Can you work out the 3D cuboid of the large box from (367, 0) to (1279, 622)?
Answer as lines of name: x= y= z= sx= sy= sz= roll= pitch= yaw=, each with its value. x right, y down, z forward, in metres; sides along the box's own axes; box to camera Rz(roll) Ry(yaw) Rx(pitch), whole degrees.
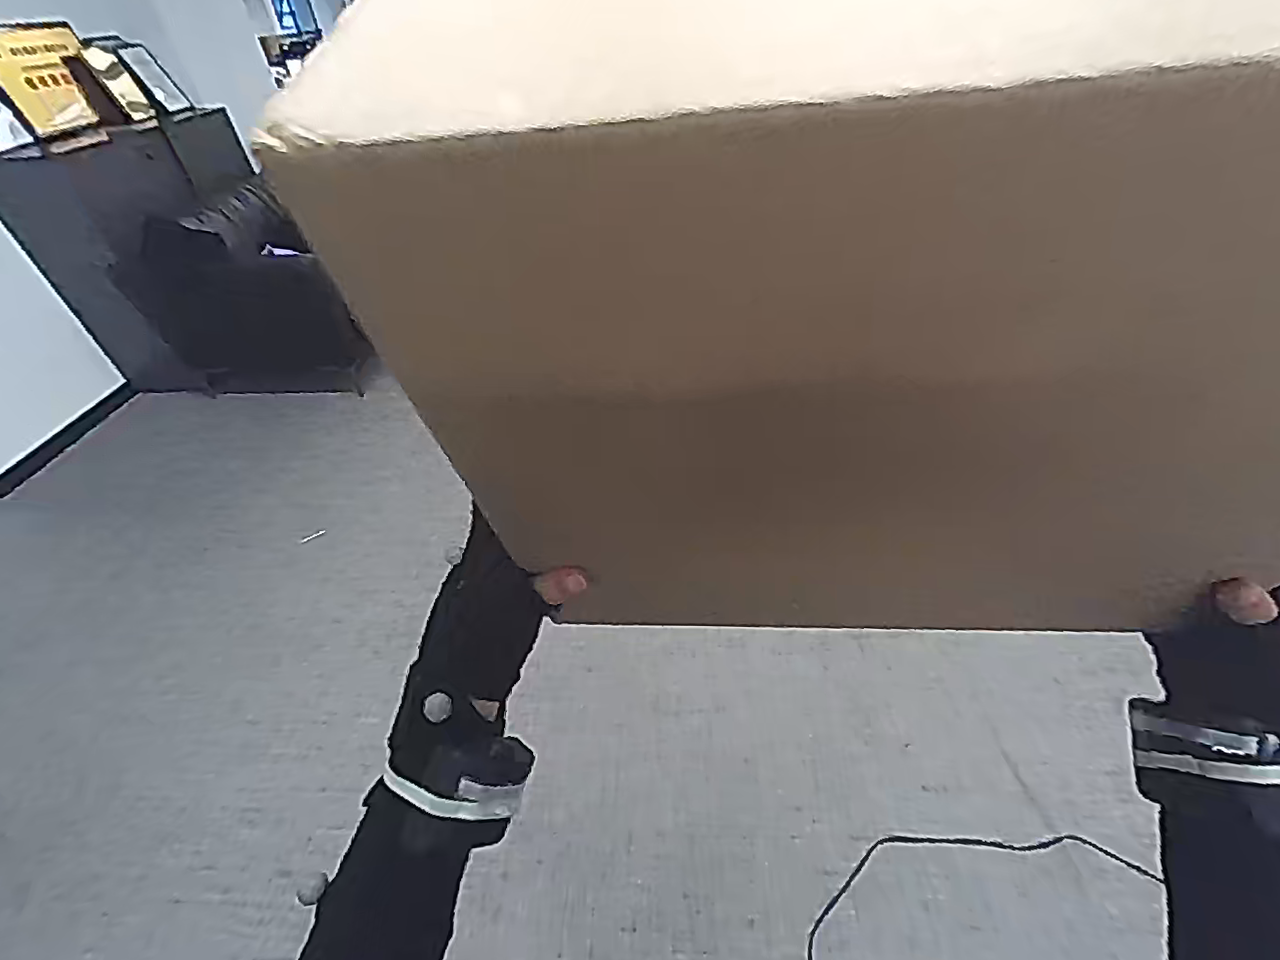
large box: x=0.140 y=-0.116 z=0.326 sx=0.408 sy=0.320 sz=0.320 roll=-1 pitch=55 yaw=4
